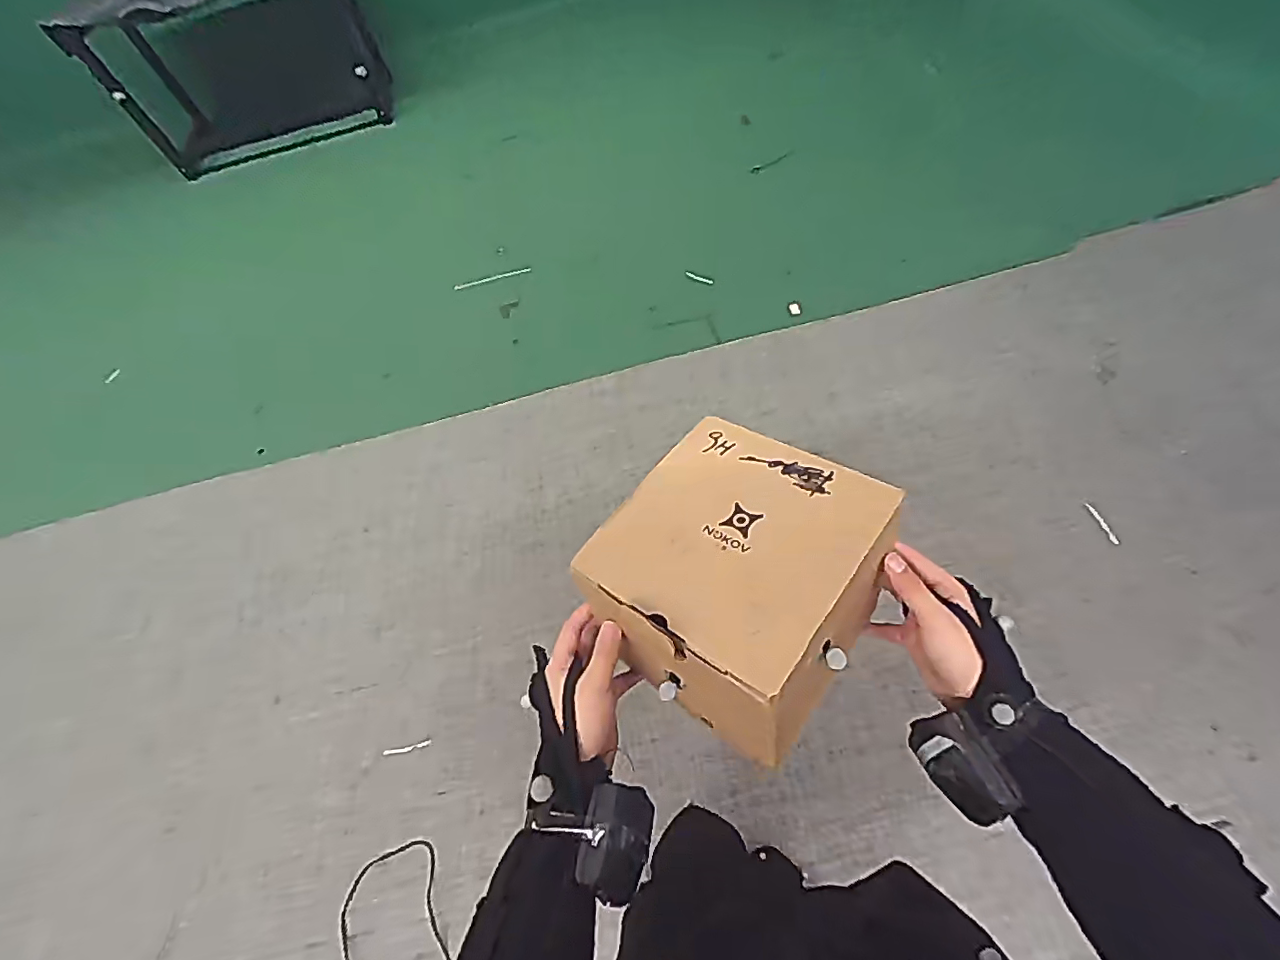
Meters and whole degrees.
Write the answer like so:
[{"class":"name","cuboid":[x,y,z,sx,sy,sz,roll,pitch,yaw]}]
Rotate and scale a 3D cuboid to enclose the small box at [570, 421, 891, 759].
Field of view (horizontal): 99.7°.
[{"class":"small box","cuboid":[0.078,0.089,0.441,0.168,0.176,0.179,27,61,32]}]
